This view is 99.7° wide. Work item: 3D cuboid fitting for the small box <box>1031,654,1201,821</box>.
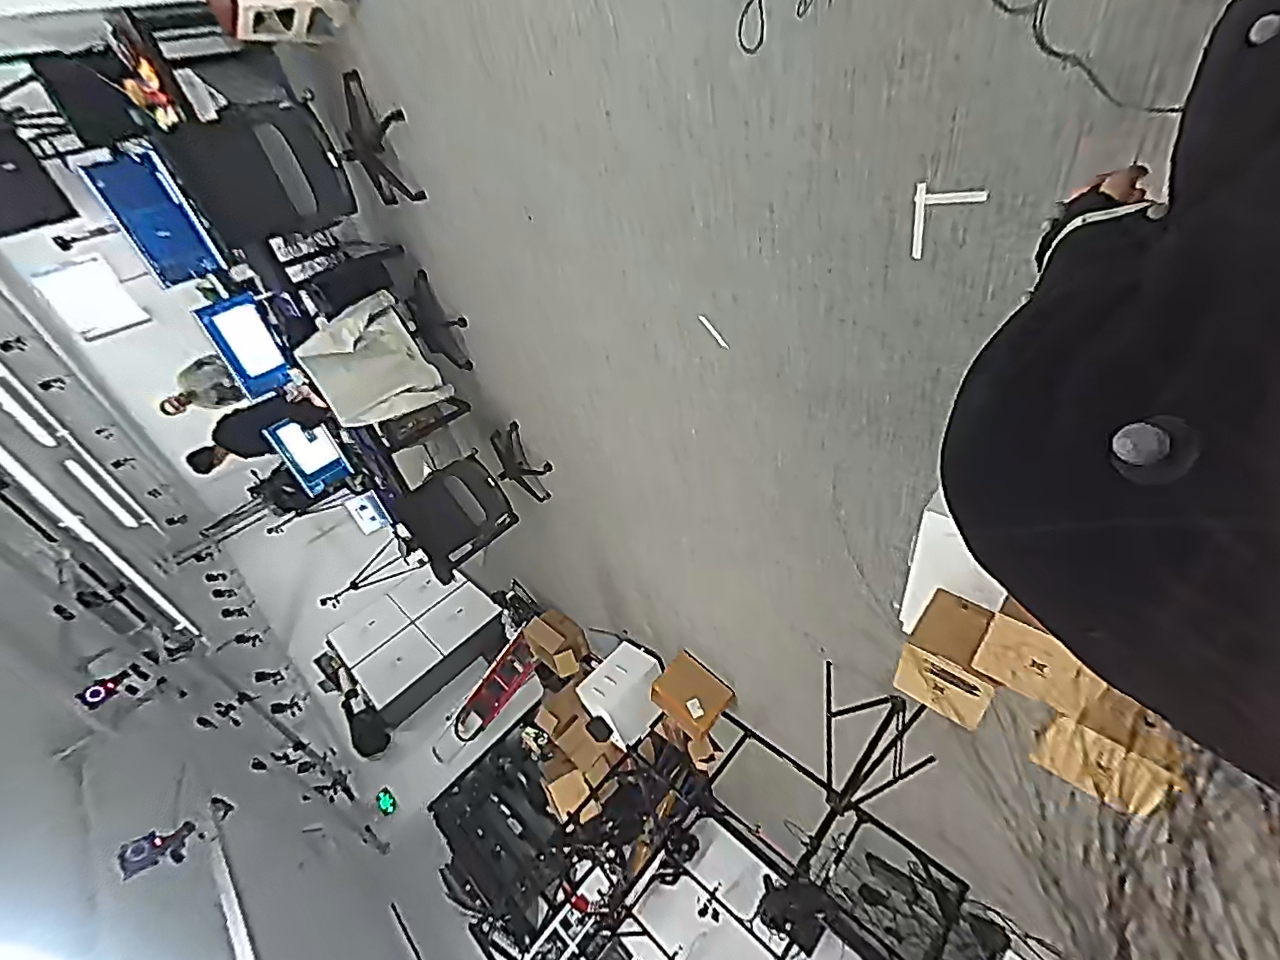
[{"bbox_3d":[0.834,0.444,0.951,0.168,0.176,0.179,28,143,36],"label":"small box"}]
